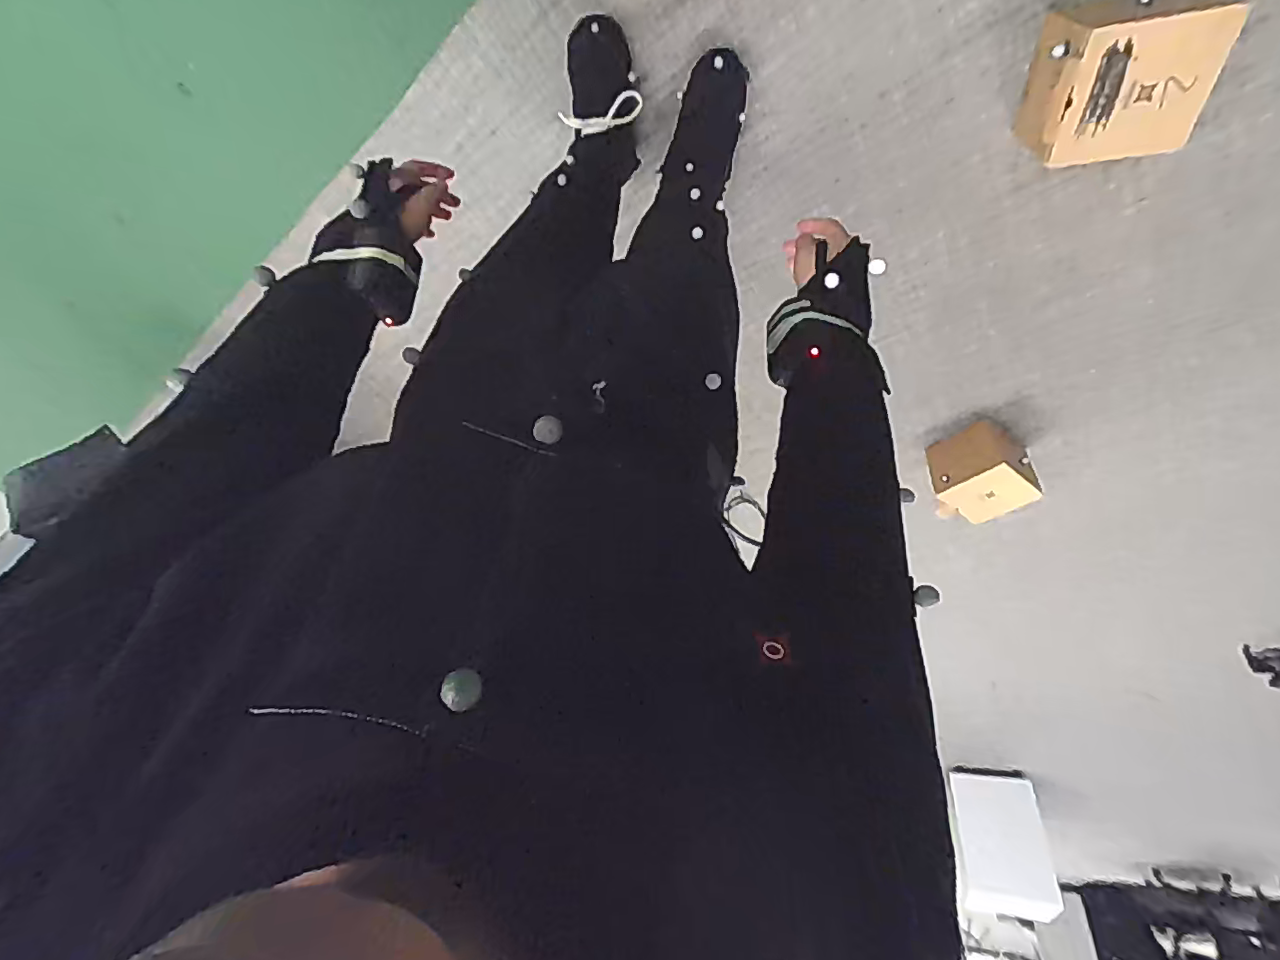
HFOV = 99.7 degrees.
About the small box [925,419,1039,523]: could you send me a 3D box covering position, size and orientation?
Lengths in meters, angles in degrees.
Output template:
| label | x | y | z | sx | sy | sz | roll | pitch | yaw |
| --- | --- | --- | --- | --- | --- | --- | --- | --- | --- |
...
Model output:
| label | x | y | z | sx | sy | sz | roll | pitch | yaw |
| --- | --- | --- | --- | --- | --- | --- | --- | --- | --- |
| small box | 0.863 | -0.026 | 1.383 | 0.168 | 0.176 | 0.179 | 31 | 138 | -19 |
